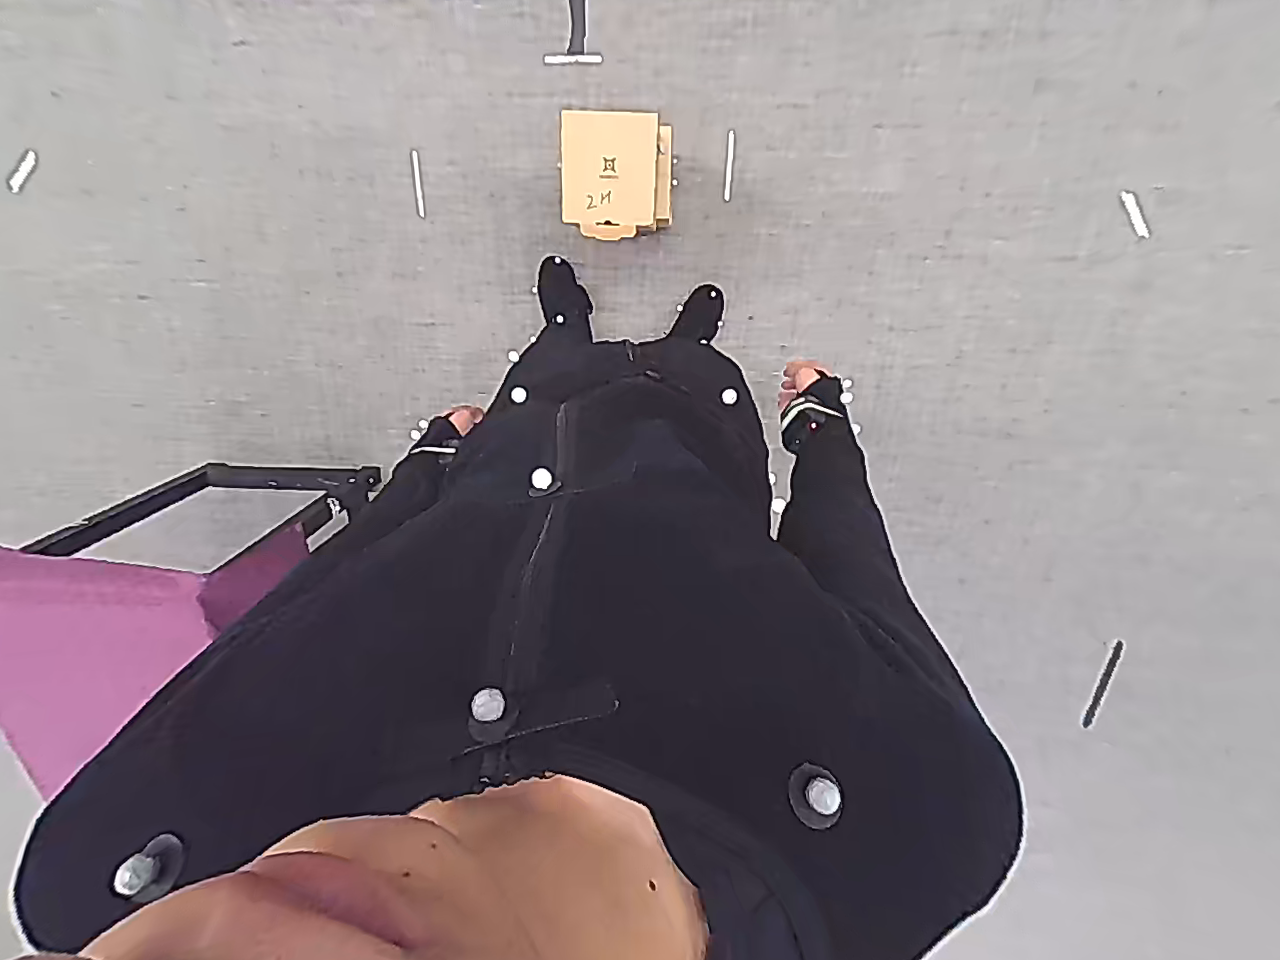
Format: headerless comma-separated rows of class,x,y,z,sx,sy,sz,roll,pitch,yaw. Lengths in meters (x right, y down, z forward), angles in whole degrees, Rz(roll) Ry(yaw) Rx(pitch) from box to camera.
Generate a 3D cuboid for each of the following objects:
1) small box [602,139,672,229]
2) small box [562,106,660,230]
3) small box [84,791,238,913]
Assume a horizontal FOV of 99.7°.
small box,-0.007,-0.704,1.302,0.168,0.176,0.179,-1,113,4
small box,-0.051,-0.568,1.004,0.168,0.176,0.179,4,114,2
small box,-1.081,0.849,1.239,0.168,0.176,0.179,-8,112,7
